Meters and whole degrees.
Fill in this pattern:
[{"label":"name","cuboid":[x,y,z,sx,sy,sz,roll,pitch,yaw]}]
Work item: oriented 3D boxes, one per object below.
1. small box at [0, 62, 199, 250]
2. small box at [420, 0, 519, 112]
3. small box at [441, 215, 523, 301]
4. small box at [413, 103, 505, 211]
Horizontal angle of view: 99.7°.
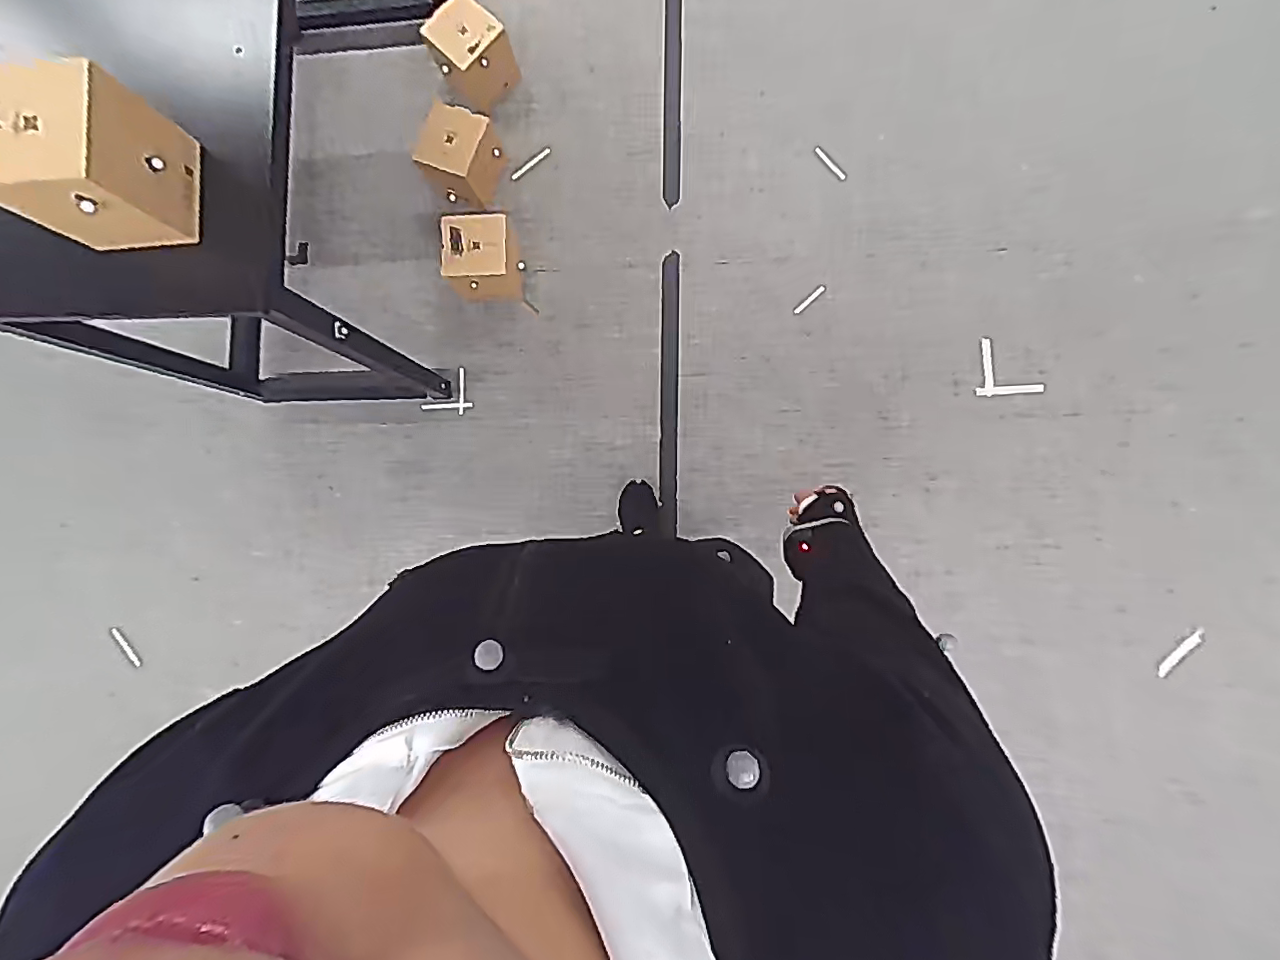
[{"label":"small box","cuboid":[-0.788,-0.455,0.783,0.179,0.176,0.168,-3,86,5]},{"label":"small box","cuboid":[-0.476,-1.204,1.534,0.179,0.176,0.168,43,91,5]},{"label":"small box","cuboid":[-0.433,-0.608,1.499,0.179,0.176,0.168,-1,87,3]},{"label":"small box","cuboid":[-0.499,-0.902,1.522,0.168,0.176,0.179,21,90,6]}]
